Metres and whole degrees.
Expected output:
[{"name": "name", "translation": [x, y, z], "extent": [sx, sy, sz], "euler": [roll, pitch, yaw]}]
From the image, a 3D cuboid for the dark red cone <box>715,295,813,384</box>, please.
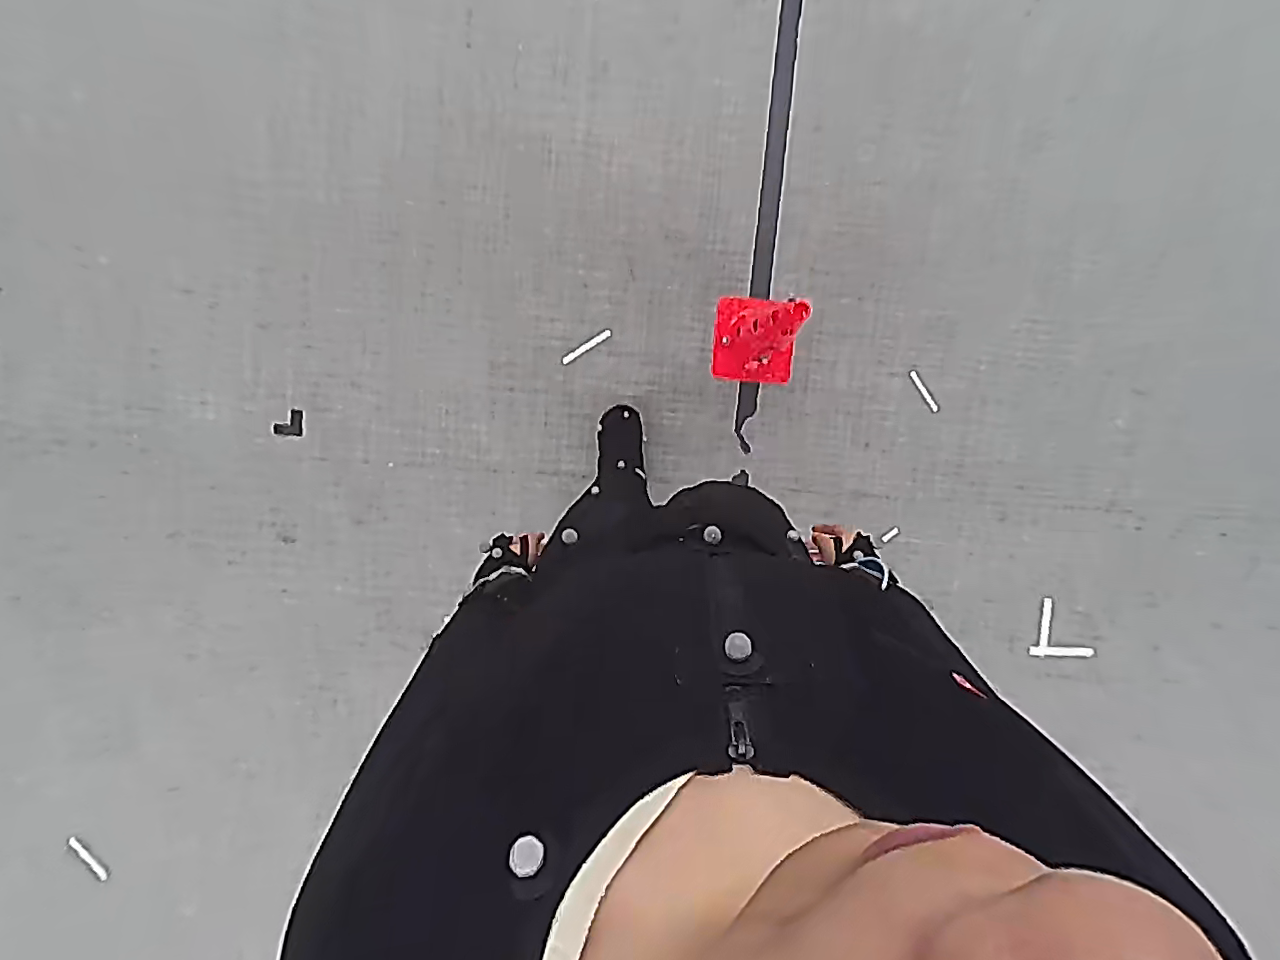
[{"name": "dark red cone", "translation": [0.287, -0.321, 1.145], "extent": [0.201, 0.394, 0.202], "euler": [4, 95, -1]}]
